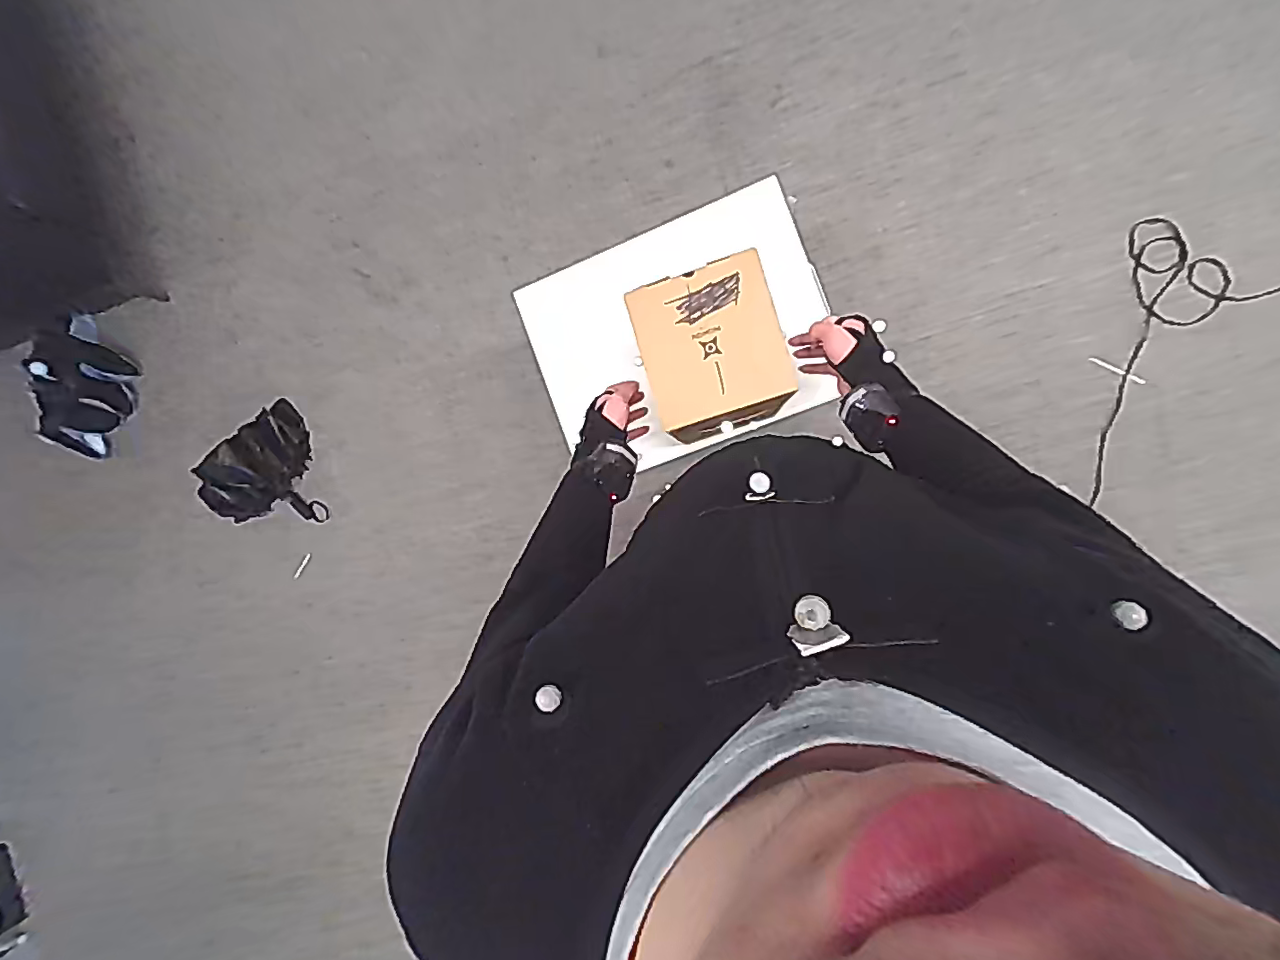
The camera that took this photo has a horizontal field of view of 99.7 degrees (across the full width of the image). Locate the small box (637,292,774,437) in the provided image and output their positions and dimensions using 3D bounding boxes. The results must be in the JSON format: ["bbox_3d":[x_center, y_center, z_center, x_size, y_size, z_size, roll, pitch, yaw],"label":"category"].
[{"bbox_3d":[0.108,-0.172,0.877,0.168,0.176,0.179,-17,88,8],"label":"small box"}]
